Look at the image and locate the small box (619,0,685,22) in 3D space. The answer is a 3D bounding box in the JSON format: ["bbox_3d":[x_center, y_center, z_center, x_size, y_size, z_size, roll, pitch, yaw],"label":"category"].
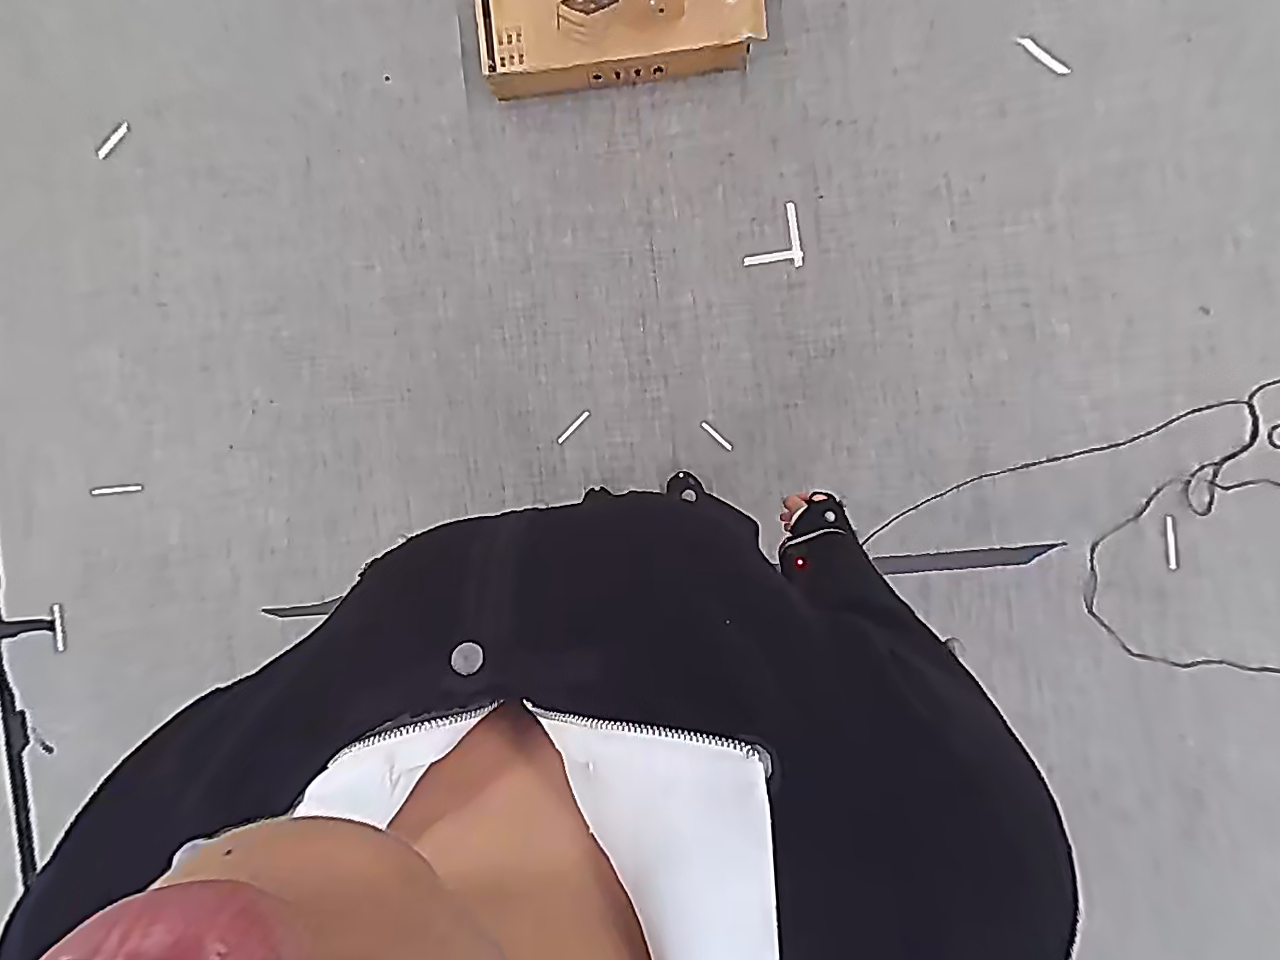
[{"bbox_3d":[0.022,-1.263,1.299,0.168,0.176,0.179,-6,90,3],"label":"small box"}]
